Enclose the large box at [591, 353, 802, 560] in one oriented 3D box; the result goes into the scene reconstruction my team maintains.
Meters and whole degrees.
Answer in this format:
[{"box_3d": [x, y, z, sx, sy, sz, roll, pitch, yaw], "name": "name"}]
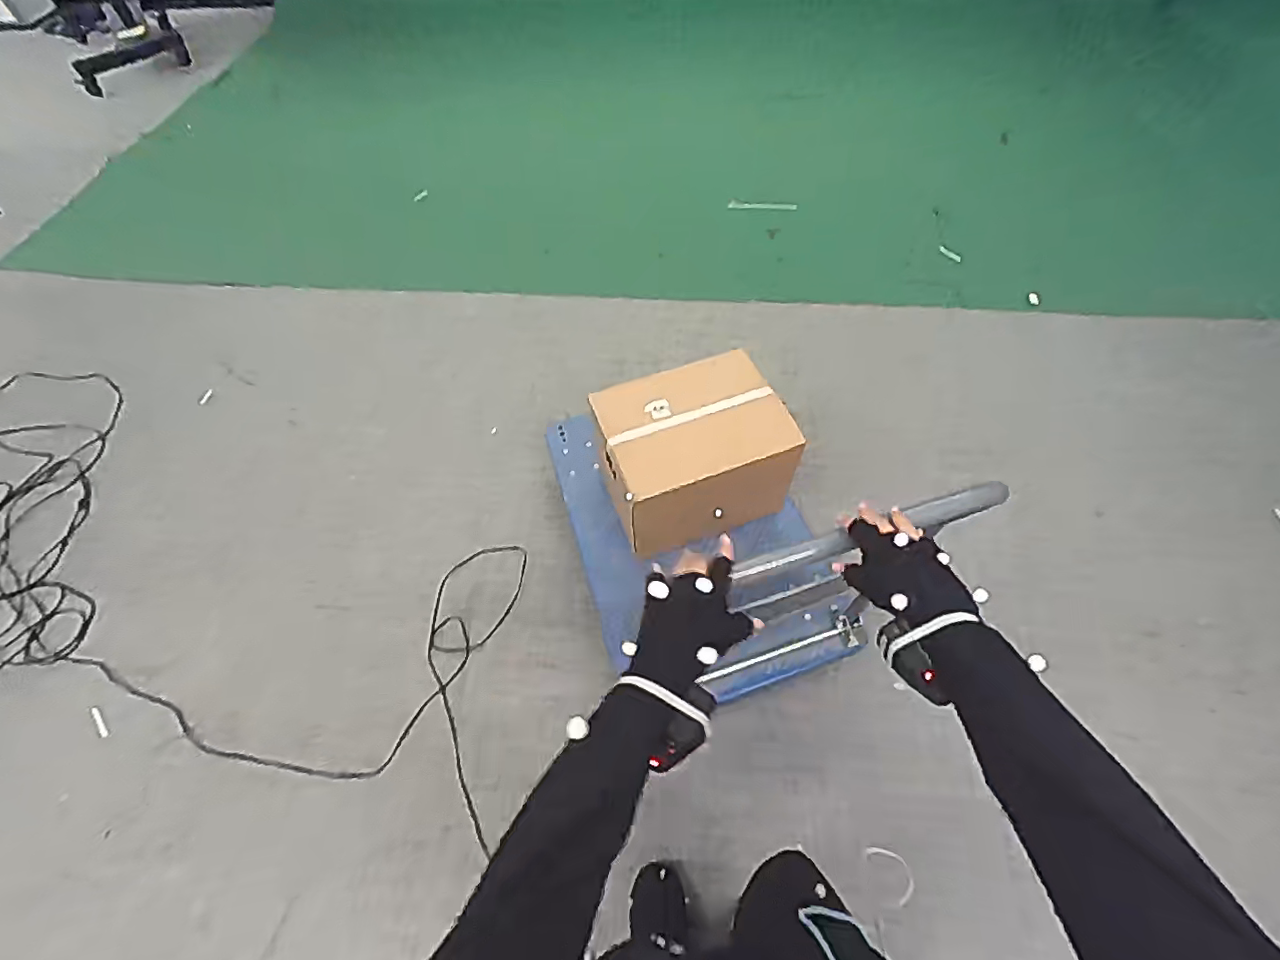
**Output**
[{"box_3d": [0.127, -0.052, 1.352, 0.408, 0.320, 0.320, -19, 59, -10], "name": "large box"}]
